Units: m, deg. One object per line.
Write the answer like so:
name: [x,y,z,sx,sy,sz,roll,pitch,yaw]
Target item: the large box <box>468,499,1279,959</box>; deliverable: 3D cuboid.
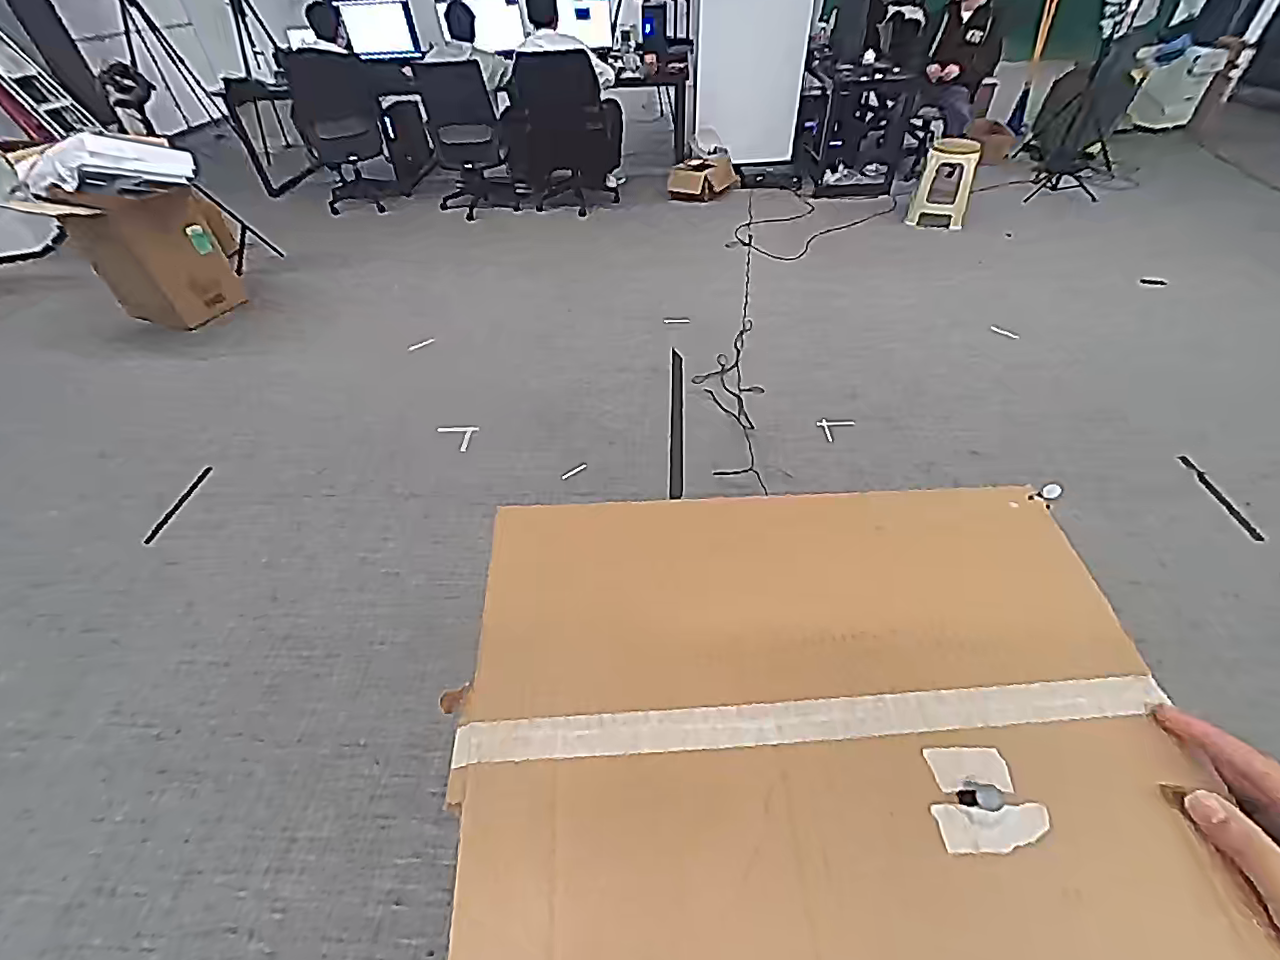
large box: [0.102,0.235,0.437,0.408,0.320,0.320,-2,54,-4]
